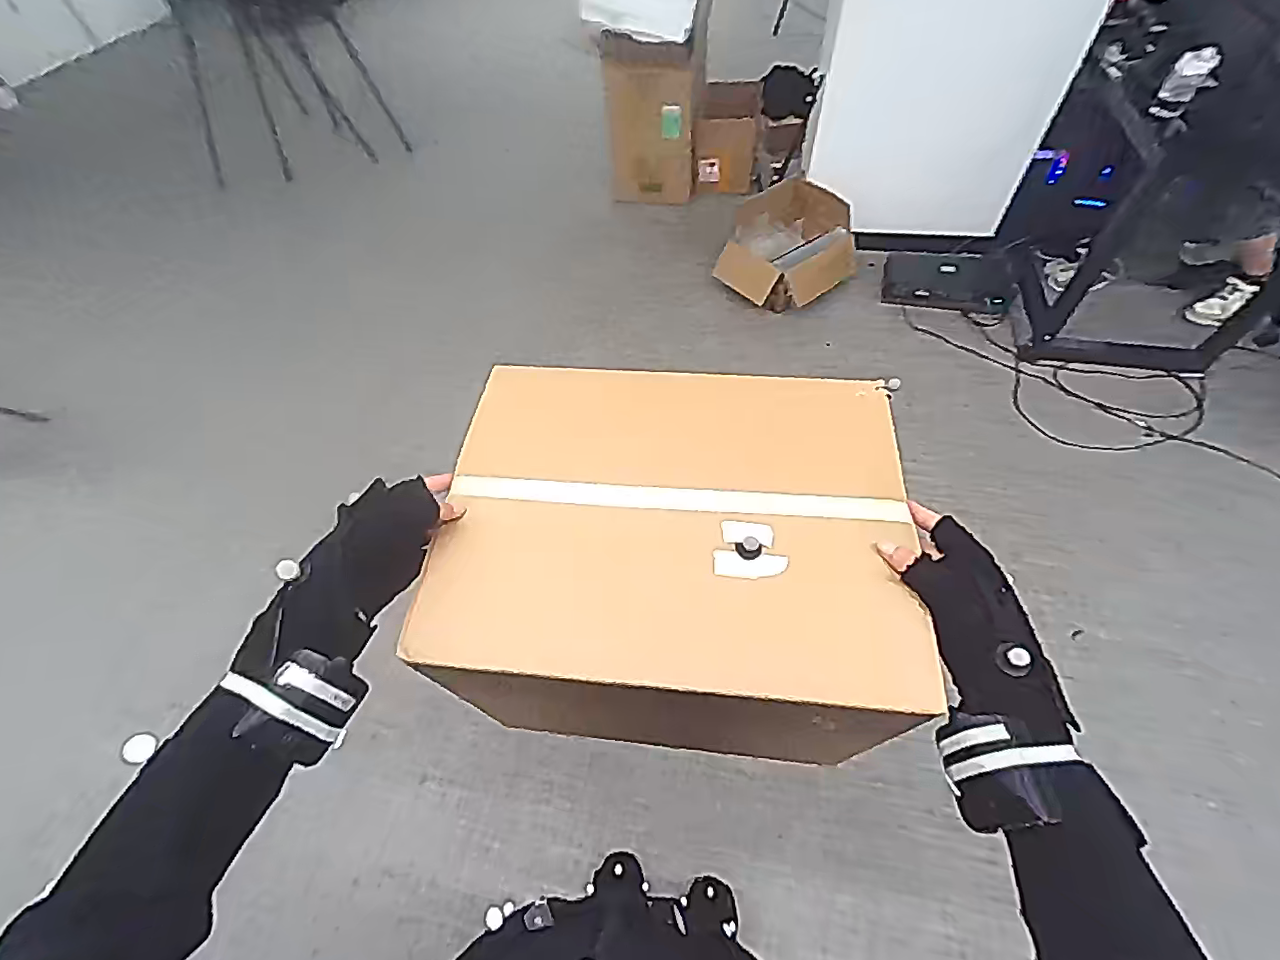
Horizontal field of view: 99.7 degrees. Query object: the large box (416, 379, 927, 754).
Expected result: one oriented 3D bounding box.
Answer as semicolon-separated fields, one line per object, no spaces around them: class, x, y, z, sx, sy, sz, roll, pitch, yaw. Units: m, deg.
large box;0.035;0.107;0.618;0.408;0.320;0.320;4;57;5
